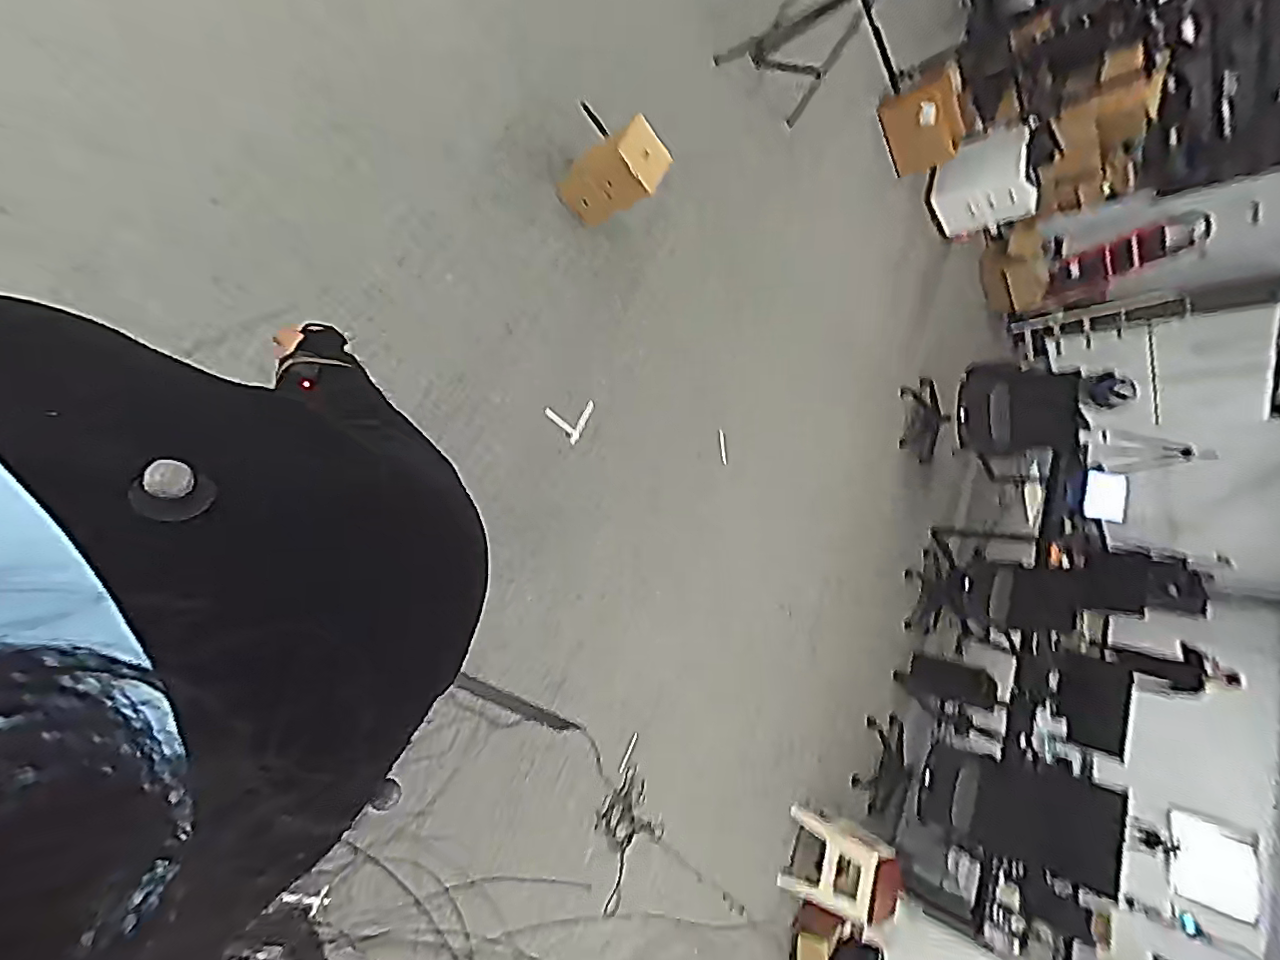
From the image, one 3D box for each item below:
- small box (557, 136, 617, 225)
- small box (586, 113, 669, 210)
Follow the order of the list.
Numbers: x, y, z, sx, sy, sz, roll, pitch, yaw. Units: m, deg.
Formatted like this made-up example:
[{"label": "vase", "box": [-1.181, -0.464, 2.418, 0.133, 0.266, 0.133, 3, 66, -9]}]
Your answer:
[{"label": "small box", "box": [-0.154, -0.998, 1.821, 0.168, 0.176, 0.179, 38, 66, -37]}, {"label": "small box", "box": [-0.043, -0.996, 1.701, 0.168, 0.176, 0.179, 39, 67, -36]}]
